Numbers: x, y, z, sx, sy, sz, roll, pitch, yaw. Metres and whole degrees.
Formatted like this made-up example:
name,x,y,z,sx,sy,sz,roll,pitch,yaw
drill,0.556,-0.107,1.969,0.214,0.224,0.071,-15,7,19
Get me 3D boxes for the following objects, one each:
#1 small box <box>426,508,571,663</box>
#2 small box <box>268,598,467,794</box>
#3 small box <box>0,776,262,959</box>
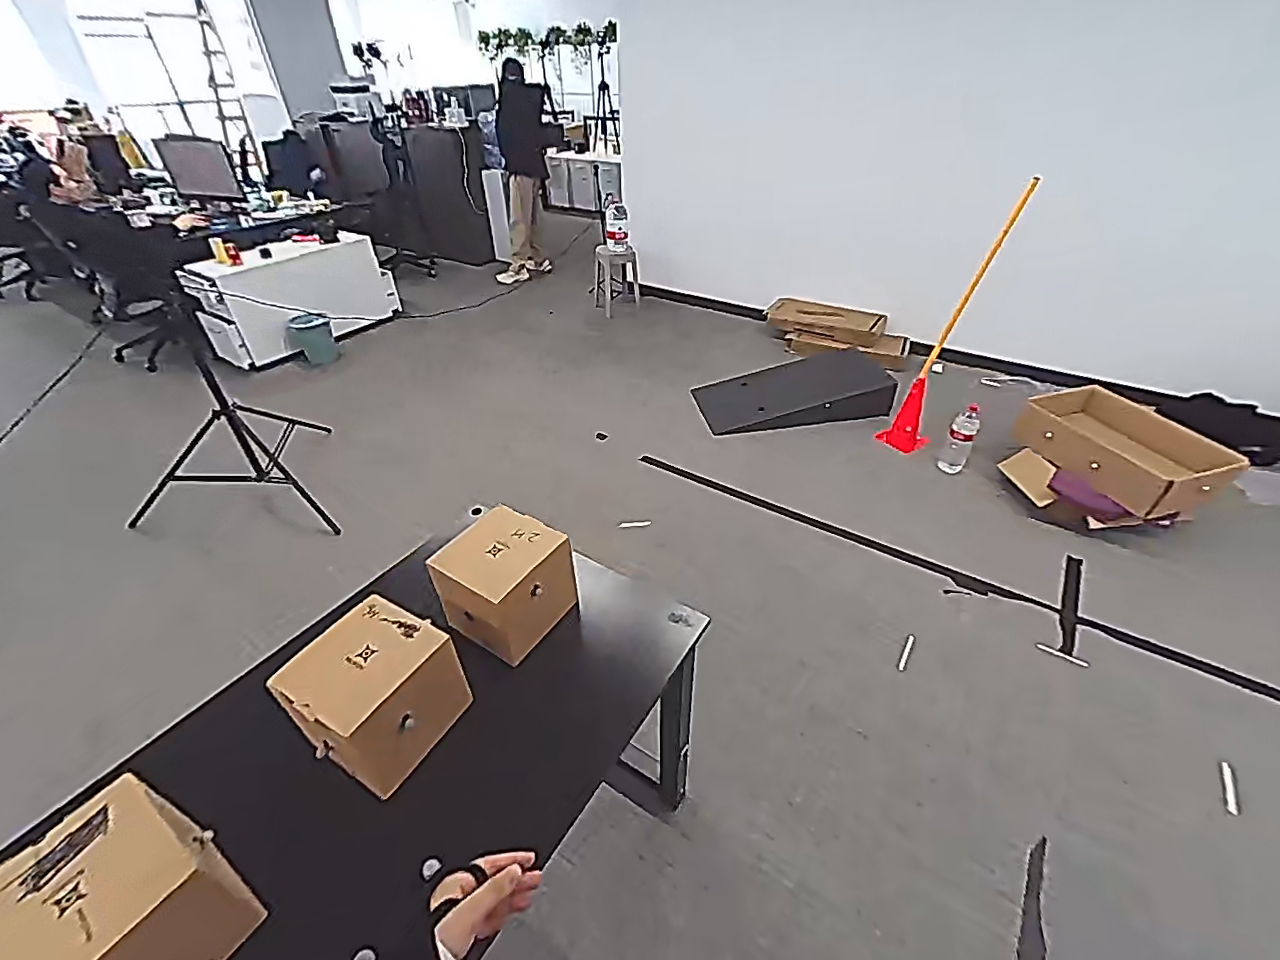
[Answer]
name,x,y,z,sx,sy,sz,roll,pitch,yaw
small box,-0.236,0.186,0.952,0.168,0.176,0.179,21,43,26
small box,-0.382,0.314,0.791,0.168,0.176,0.179,18,43,23
small box,-0.563,0.475,0.585,0.179,0.176,0.168,22,43,26
